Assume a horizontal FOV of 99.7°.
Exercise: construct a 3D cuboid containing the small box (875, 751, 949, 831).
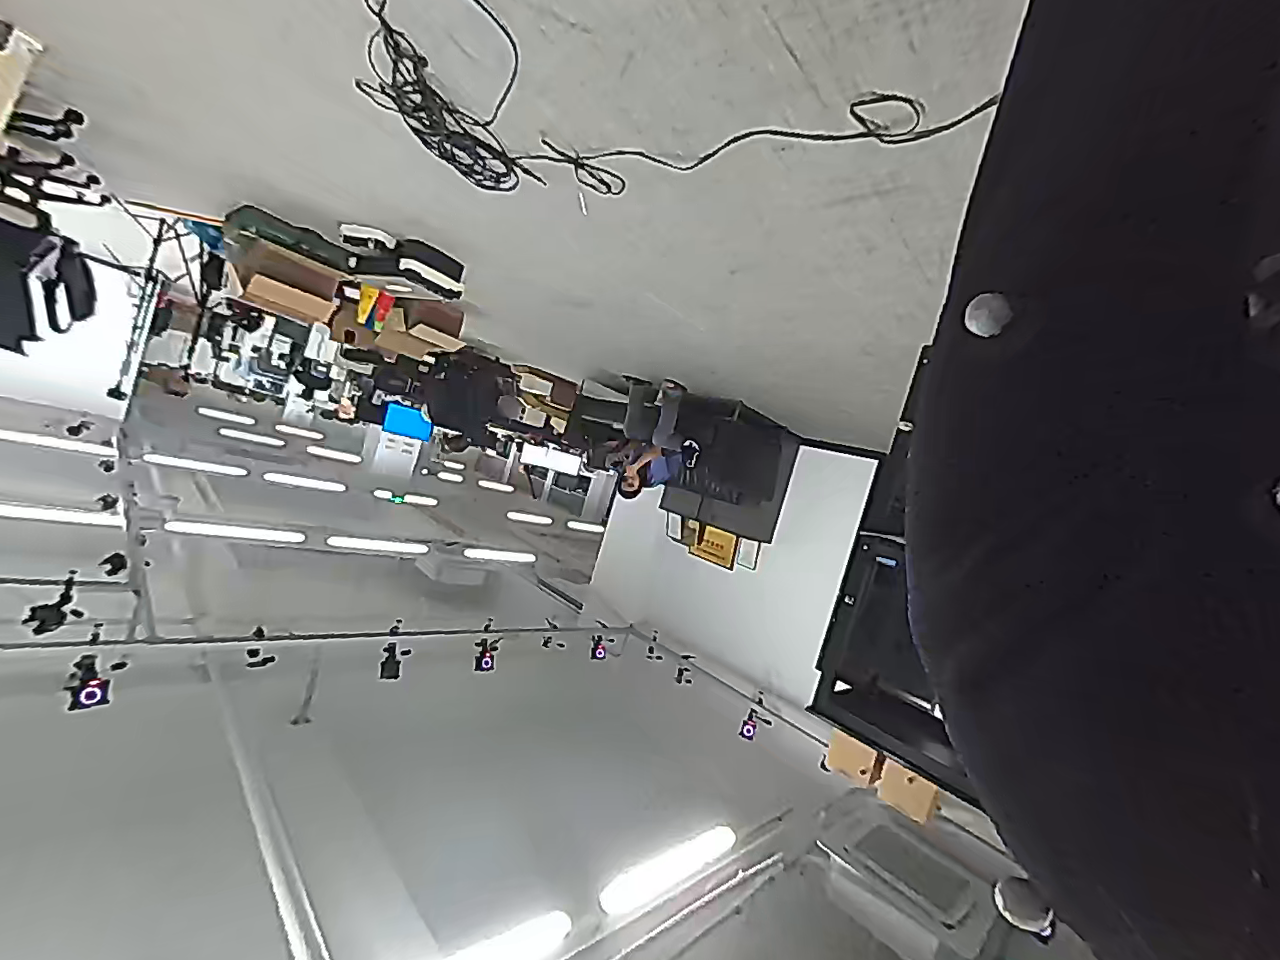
[{"bbox_3d":[0.965,1.087,1.909,0.179,0.176,0.168,16,-179,-45],"label":"small box"}]
